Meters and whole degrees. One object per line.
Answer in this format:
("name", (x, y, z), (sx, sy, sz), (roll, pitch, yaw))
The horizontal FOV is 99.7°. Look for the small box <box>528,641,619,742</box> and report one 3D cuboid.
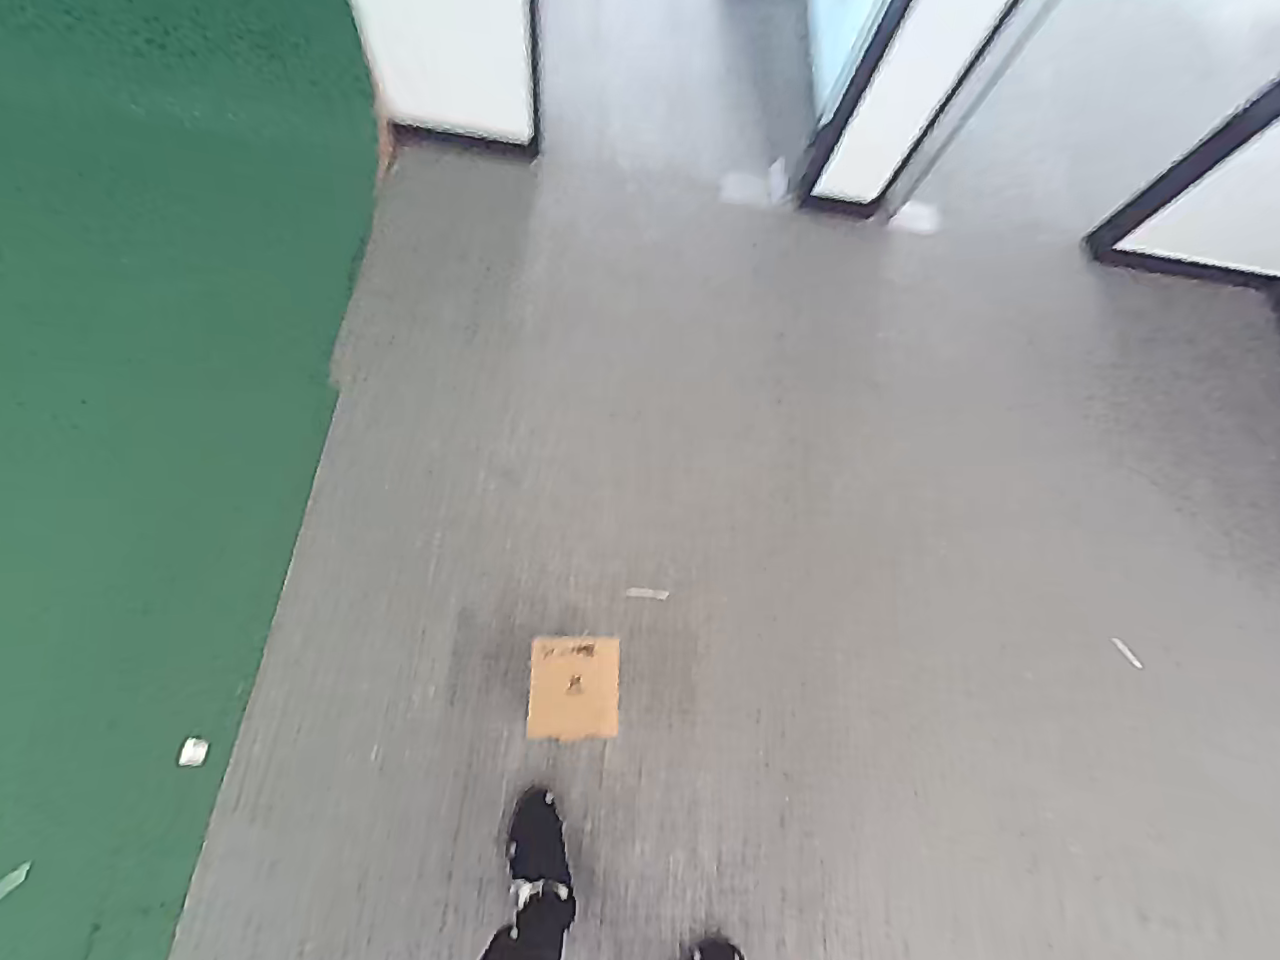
("small box", (-0.132, 0.415, 1.078), (0.168, 0.176, 0.179), (2, 70, -9))
